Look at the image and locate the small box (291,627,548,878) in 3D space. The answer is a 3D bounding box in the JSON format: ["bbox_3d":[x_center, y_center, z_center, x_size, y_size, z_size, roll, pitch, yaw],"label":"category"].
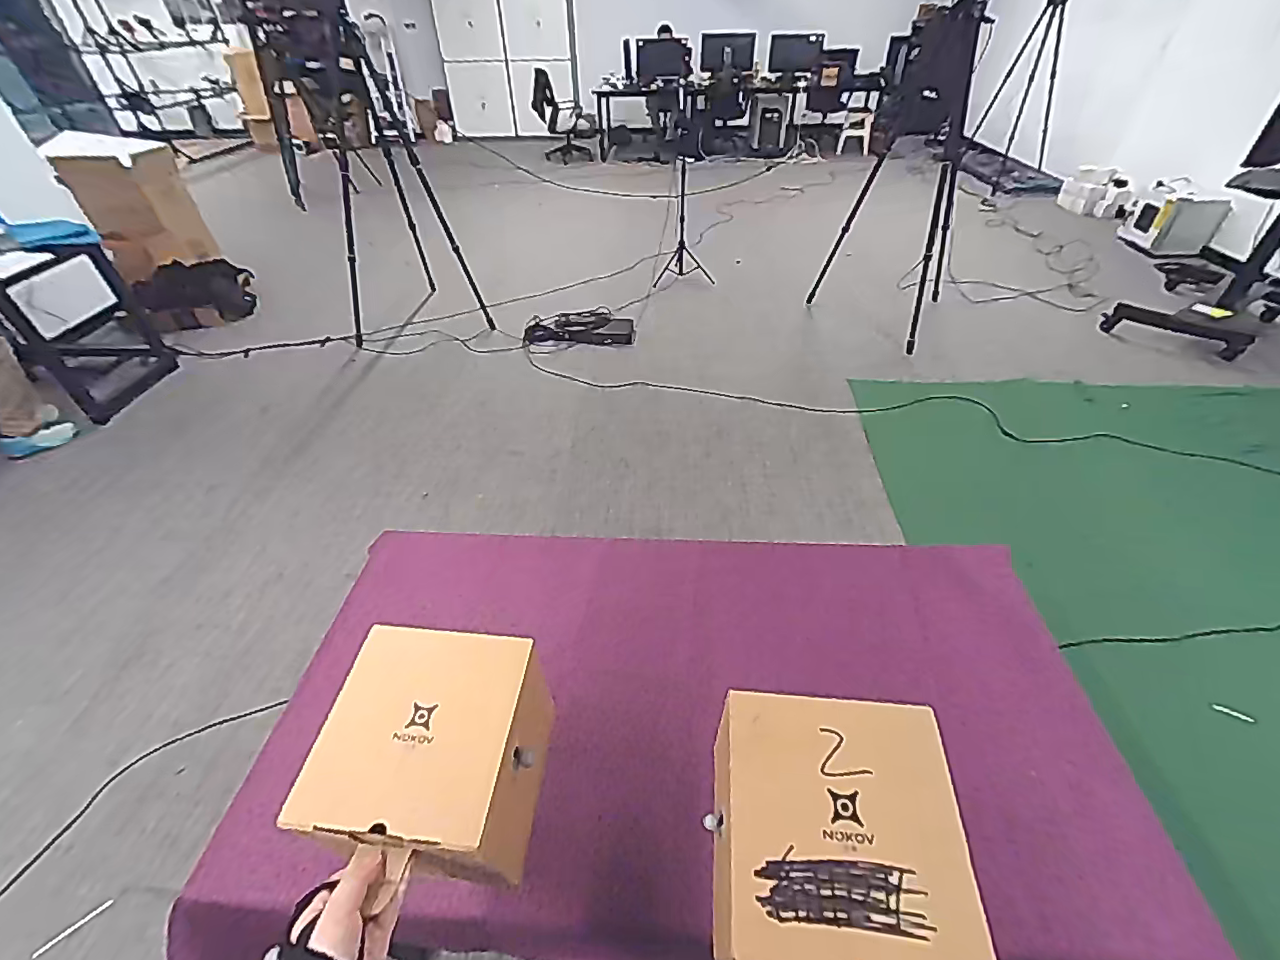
[{"bbox_3d":[-0.195,0.274,0.545,0.168,0.176,0.179,4,47,5],"label":"small box"}]
